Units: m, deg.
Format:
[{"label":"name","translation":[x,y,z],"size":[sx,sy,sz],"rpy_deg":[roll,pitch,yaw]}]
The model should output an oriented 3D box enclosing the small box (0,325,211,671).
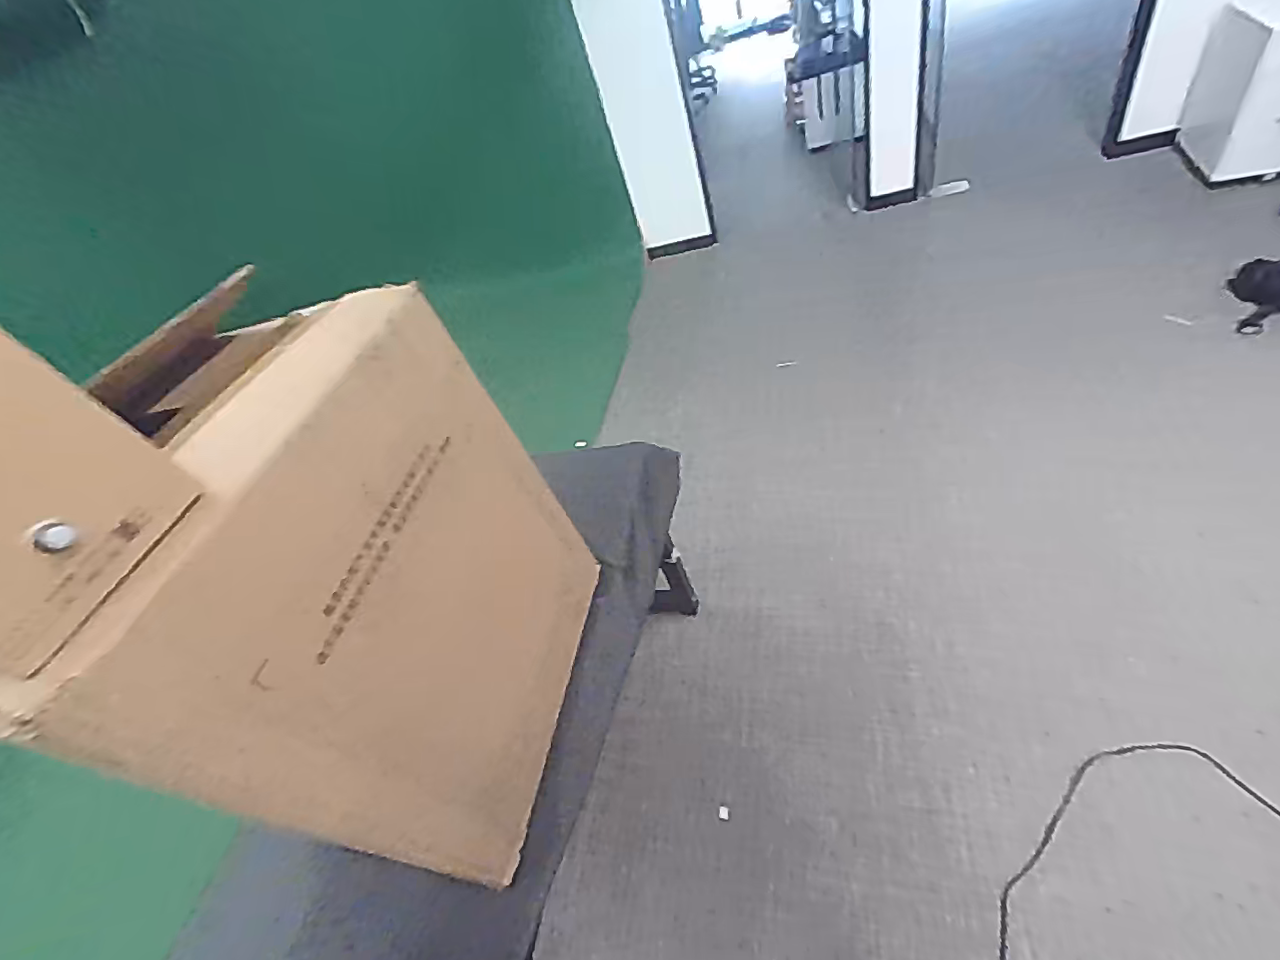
[{"label":"small box","translation":[-0.473,0.019,0.379],"size":[0.179,0.176,0.168],"rpy_deg":[-4,47,20]}]
